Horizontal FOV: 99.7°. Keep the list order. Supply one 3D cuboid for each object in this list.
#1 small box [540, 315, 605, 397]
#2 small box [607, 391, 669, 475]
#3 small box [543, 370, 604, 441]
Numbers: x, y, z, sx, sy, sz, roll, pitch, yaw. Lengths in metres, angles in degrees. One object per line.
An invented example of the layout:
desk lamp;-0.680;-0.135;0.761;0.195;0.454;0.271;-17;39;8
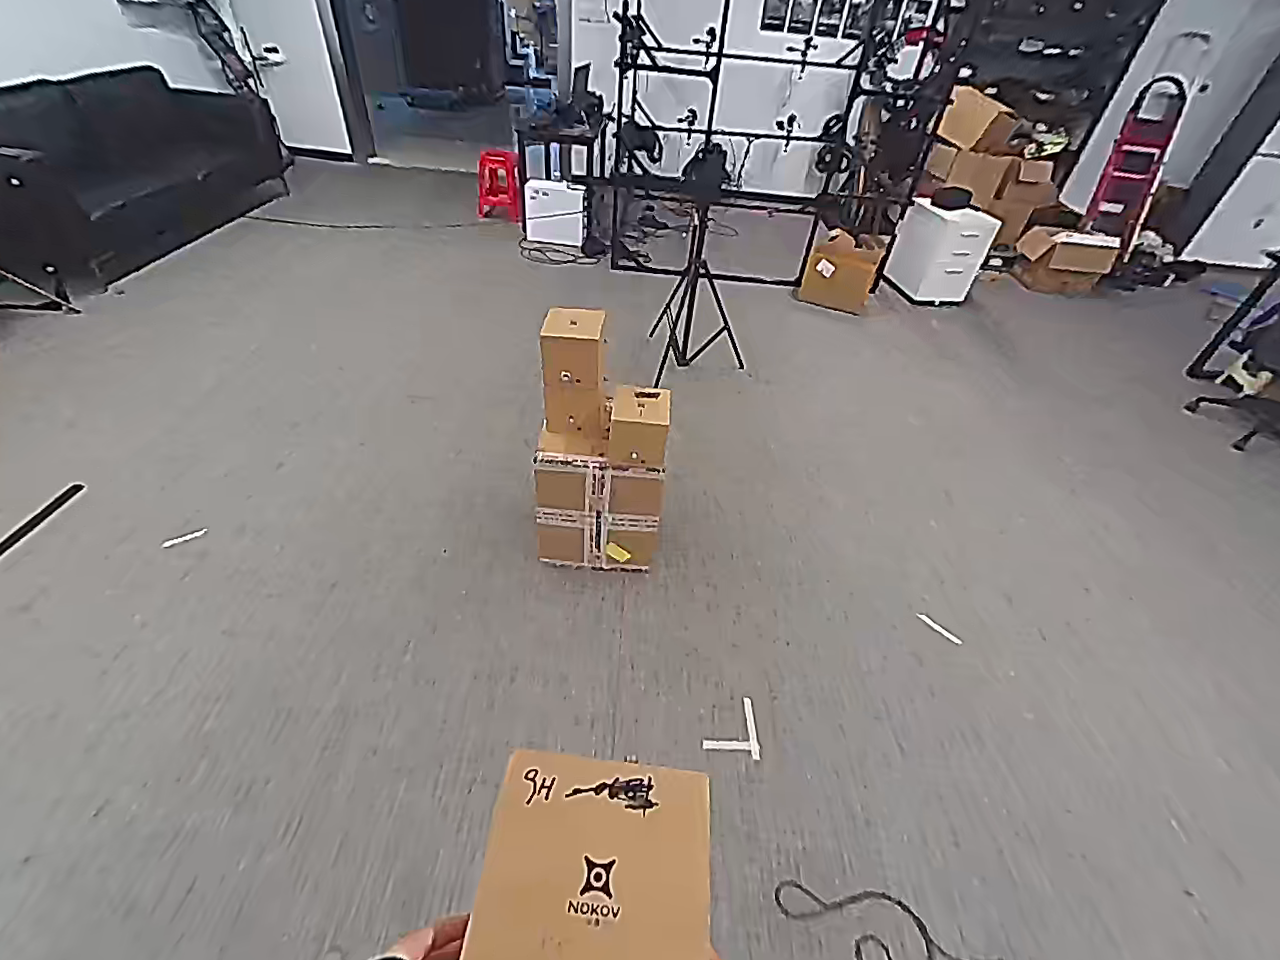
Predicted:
small box;-0.195;-0.366;1.594;0.168;0.176;0.179;4;43;0
small box;-0.008;-0.141;1.611;0.168;0.176;0.179;6;43;-2
small box;-0.206;-0.247;1.704;0.168;0.176;0.179;4;42;0
